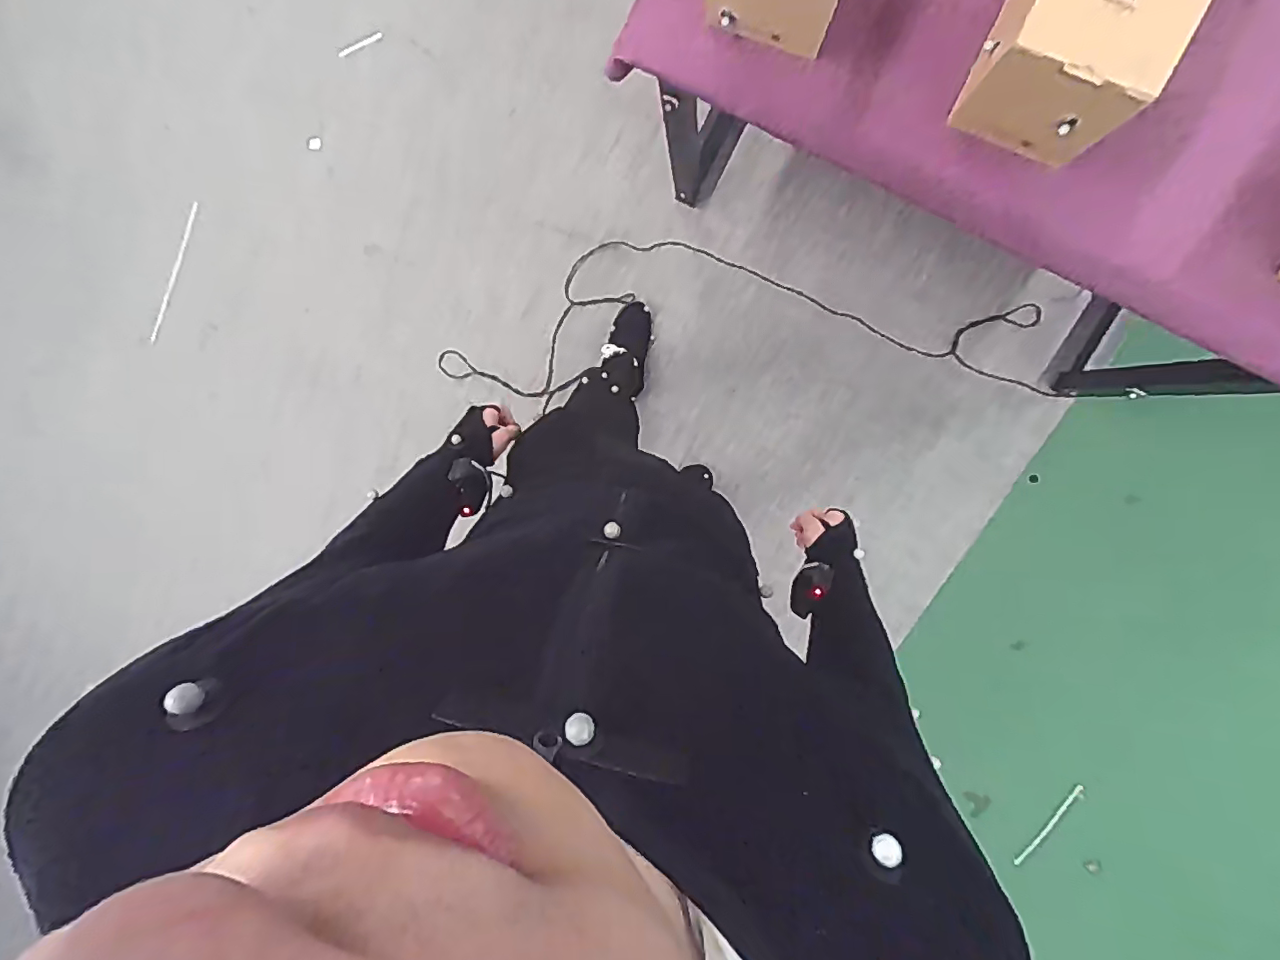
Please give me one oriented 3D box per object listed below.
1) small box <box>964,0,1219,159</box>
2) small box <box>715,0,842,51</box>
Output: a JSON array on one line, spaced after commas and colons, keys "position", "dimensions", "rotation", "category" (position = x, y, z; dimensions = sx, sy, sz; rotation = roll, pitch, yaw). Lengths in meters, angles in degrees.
[{"position": [0.525, -0.523, 0.640], "dimensions": [0.168, 0.176, 0.179], "rotation": [25, 99, 3], "category": "small box"}, {"position": [0.193, -0.683, 0.660], "dimensions": [0.168, 0.176, 0.179], "rotation": [22, 99, 4], "category": "small box"}]
